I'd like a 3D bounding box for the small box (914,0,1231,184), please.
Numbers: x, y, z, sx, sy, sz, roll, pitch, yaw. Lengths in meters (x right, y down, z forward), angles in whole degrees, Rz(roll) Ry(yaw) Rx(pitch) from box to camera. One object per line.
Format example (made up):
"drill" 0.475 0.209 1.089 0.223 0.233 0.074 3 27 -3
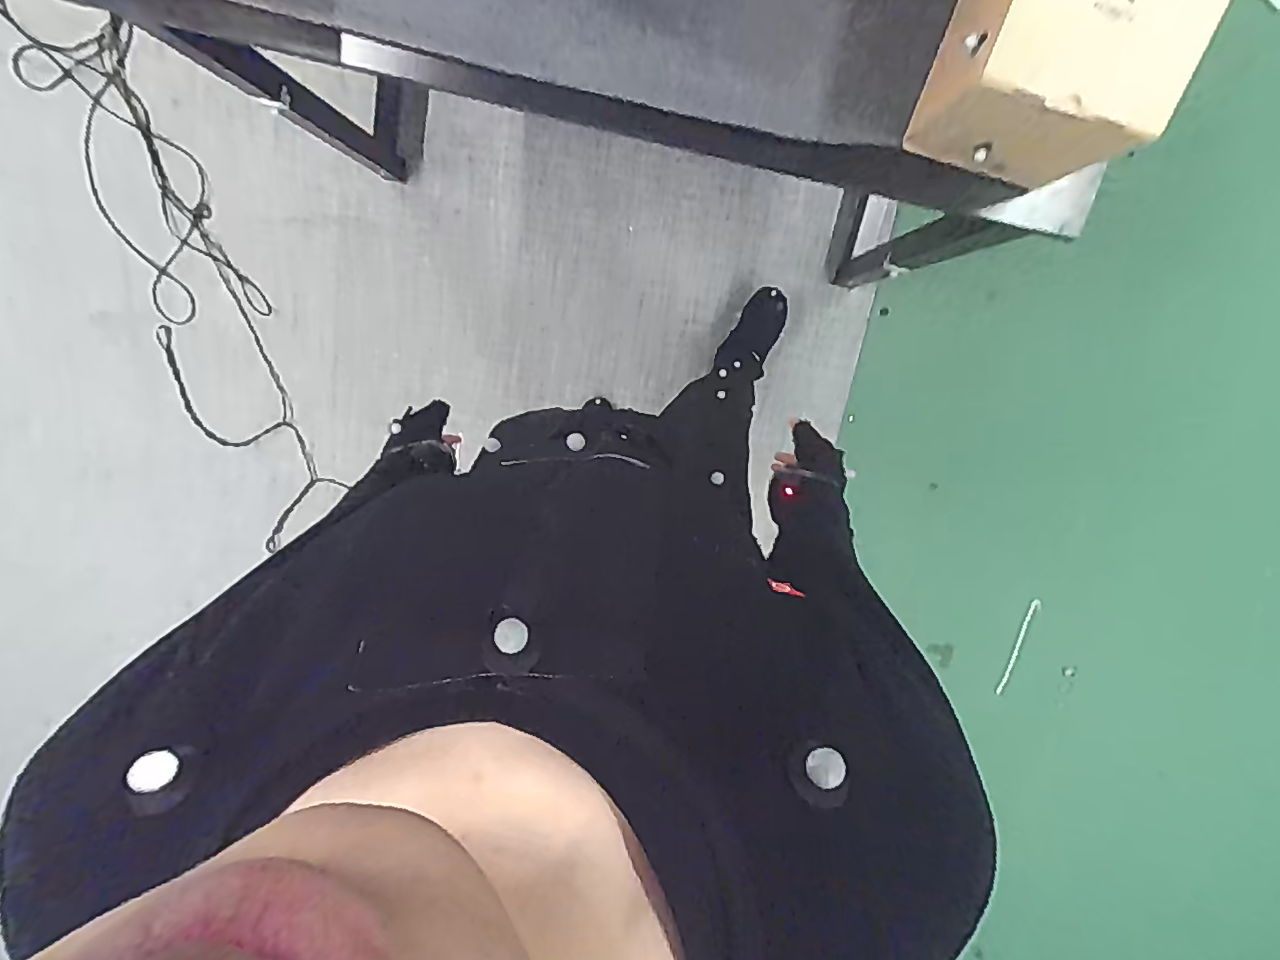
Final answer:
"small box" 0.399 -0.417 0.518 0.168 0.176 0.179 17 106 -1
